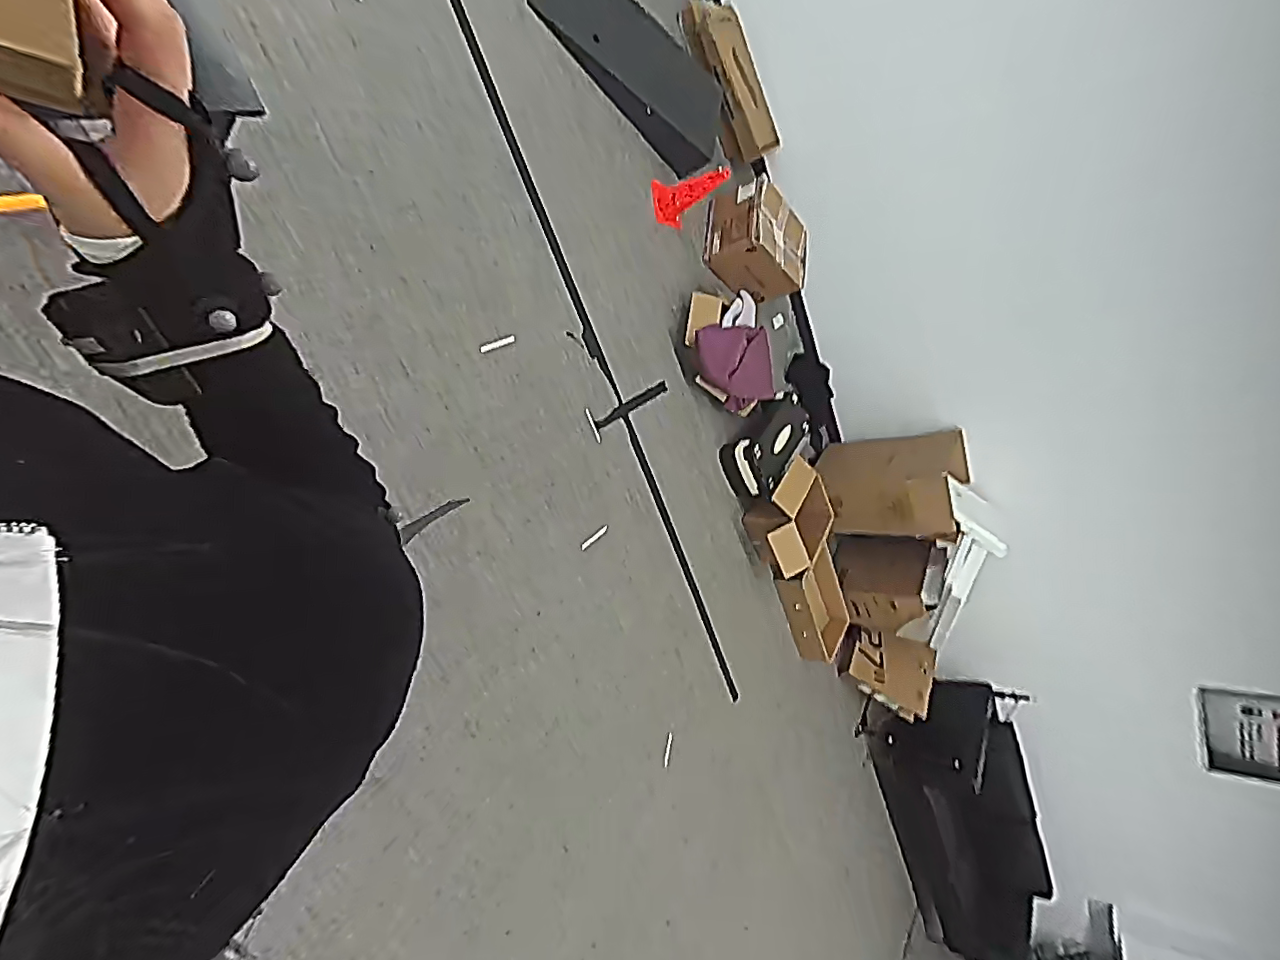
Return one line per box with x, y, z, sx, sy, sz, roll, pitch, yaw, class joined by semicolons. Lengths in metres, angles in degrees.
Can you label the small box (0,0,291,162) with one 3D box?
-0.196;-0.195;0.124;0.168;0.176;0.179;-7;117;-44;small box
